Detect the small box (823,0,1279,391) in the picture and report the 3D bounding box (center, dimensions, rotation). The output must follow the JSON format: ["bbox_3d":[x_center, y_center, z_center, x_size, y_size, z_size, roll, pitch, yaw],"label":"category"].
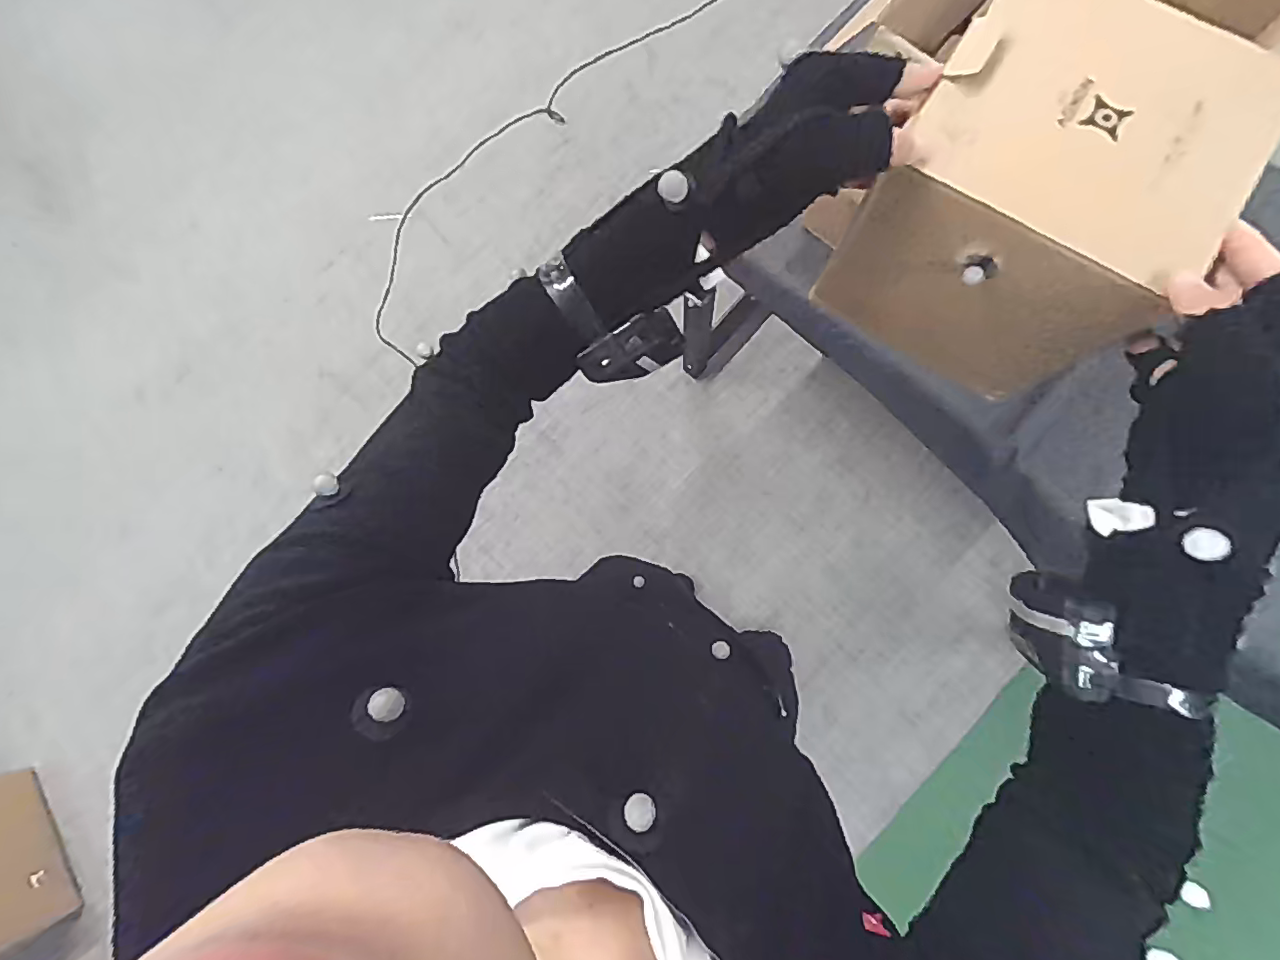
[{"bbox_3d":[0.261,-0.188,0.384,0.179,0.176,0.168,34,84,6],"label":"small box"}]
